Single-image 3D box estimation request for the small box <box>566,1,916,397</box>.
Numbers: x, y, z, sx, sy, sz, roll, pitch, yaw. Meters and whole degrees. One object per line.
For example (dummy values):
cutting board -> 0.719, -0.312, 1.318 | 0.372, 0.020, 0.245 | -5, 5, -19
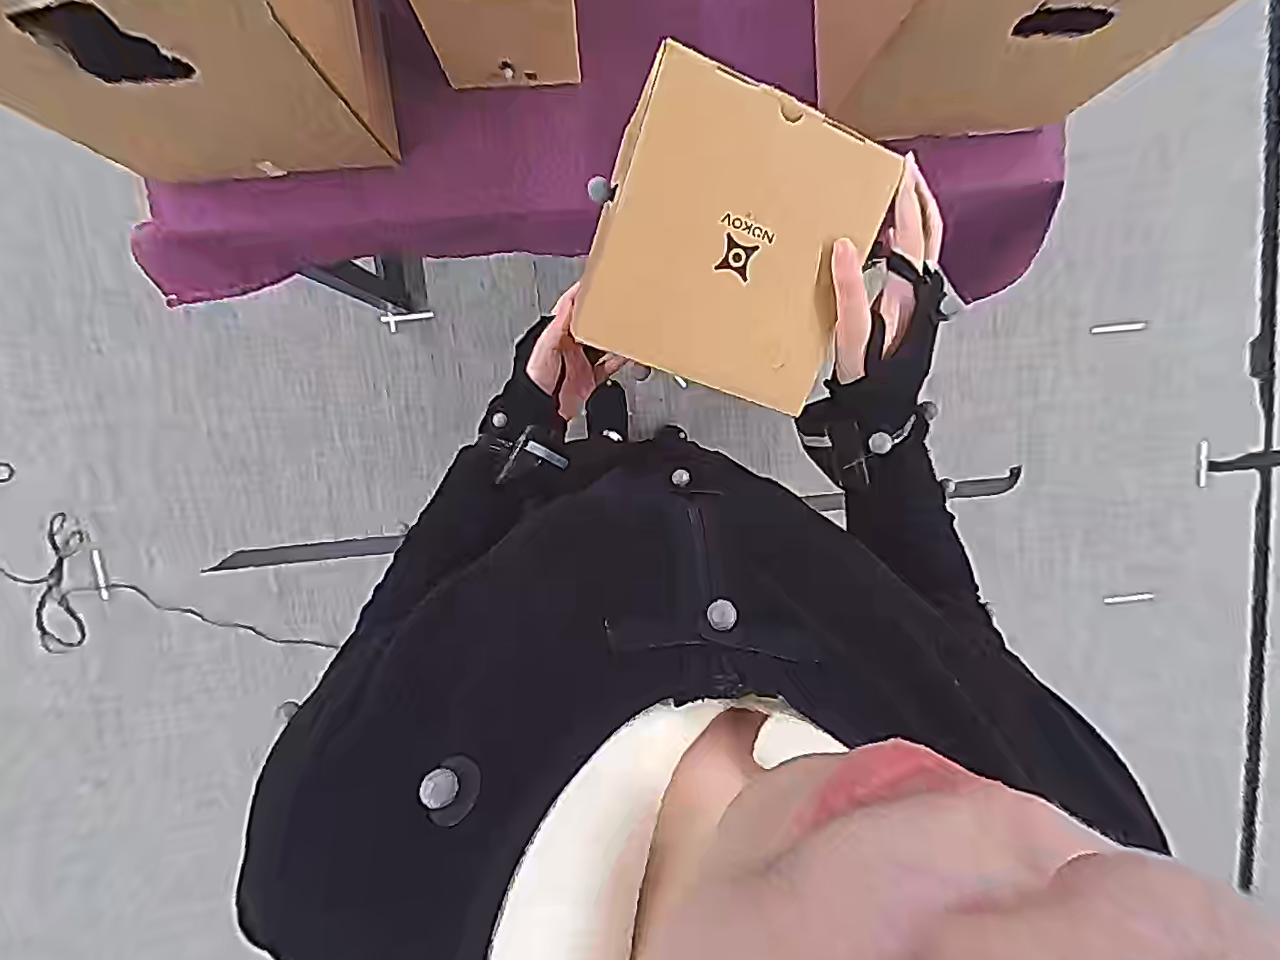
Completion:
small box -> 0.065, -0.171, 0.374 | 0.179, 0.176, 0.168 | 15, 86, 5
